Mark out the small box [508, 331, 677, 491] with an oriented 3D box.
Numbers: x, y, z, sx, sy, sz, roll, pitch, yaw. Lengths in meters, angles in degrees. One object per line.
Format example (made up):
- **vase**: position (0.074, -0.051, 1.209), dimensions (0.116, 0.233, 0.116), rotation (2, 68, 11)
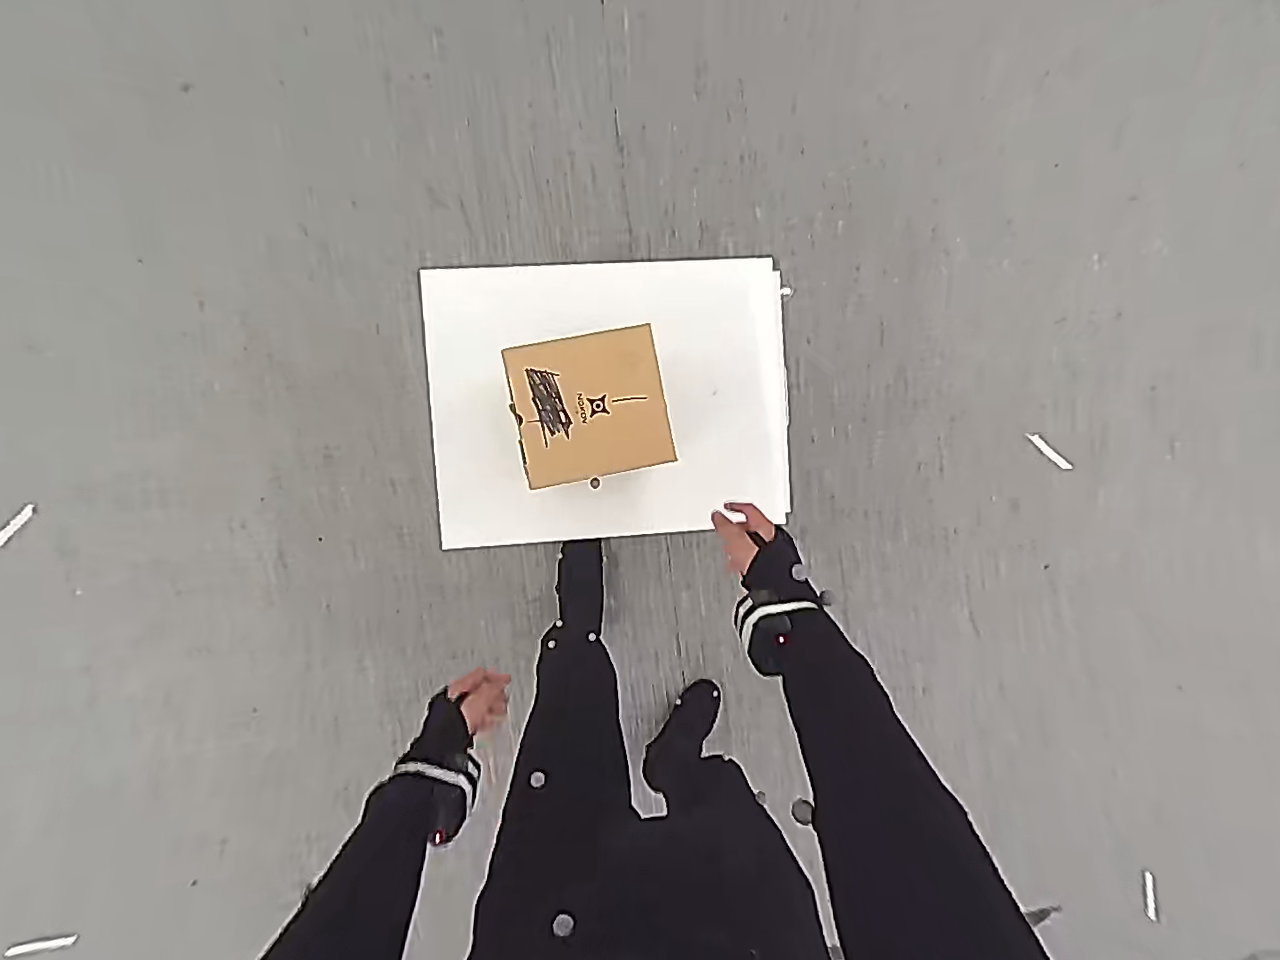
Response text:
- **small box**: position (-0.060, -0.081, 0.707), dimensions (0.179, 0.176, 0.168), rotation (-11, 93, -5)
